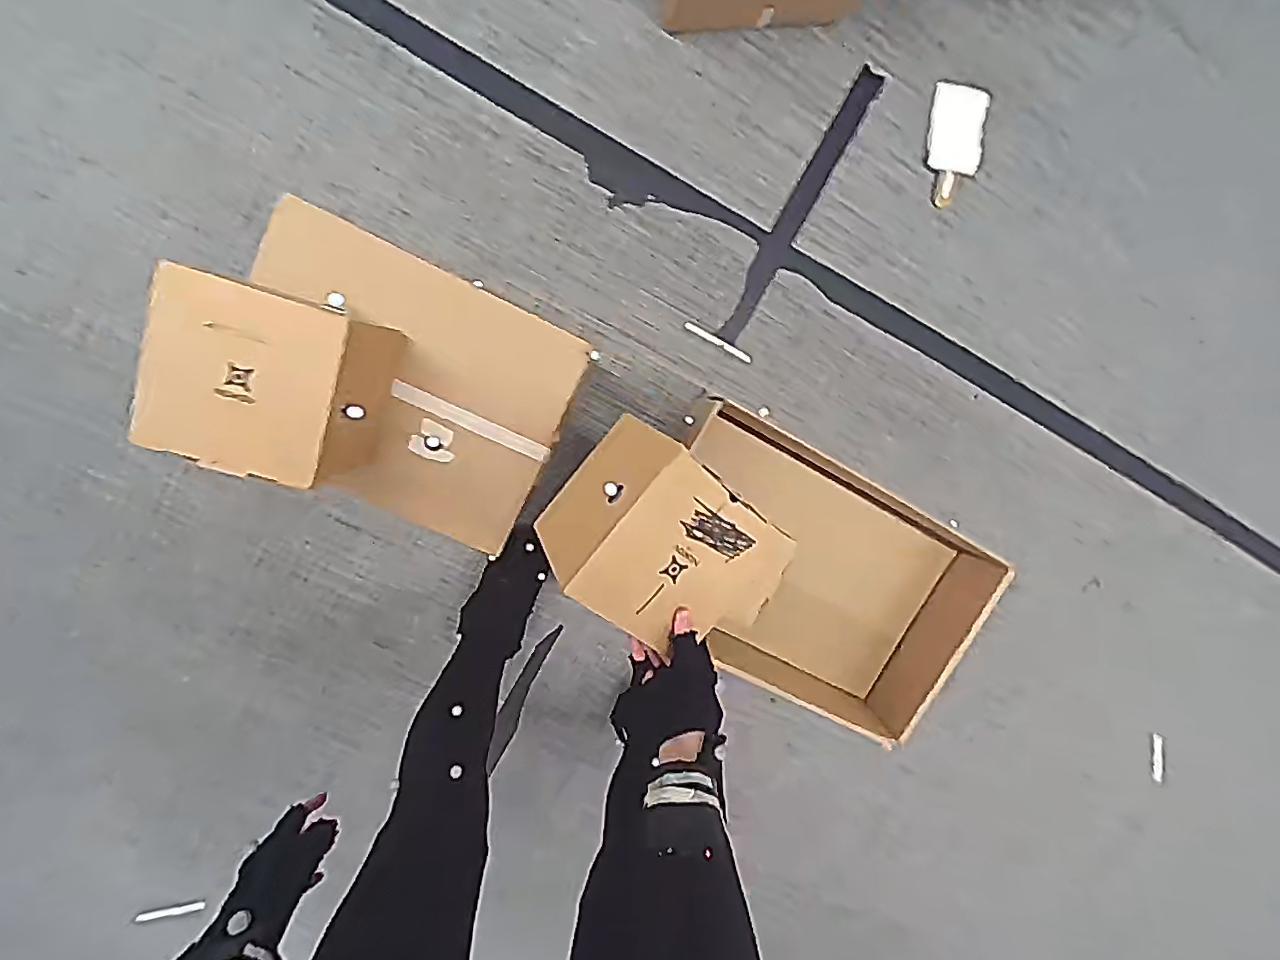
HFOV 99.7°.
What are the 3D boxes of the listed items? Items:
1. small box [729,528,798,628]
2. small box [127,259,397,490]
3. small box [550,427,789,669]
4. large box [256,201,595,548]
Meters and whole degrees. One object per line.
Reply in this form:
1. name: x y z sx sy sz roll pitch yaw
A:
1. small box: 0.131 0.119 0.929 0.179 0.176 0.168 28 95 -11
2. small box: -0.383 -0.107 0.580 0.168 0.176 0.179 16 98 -9
3. small box: 0.020 0.063 0.599 0.168 0.176 0.179 40 91 -25
4. large box: -0.314 -0.145 0.828 0.408 0.320 0.320 24 98 -9
